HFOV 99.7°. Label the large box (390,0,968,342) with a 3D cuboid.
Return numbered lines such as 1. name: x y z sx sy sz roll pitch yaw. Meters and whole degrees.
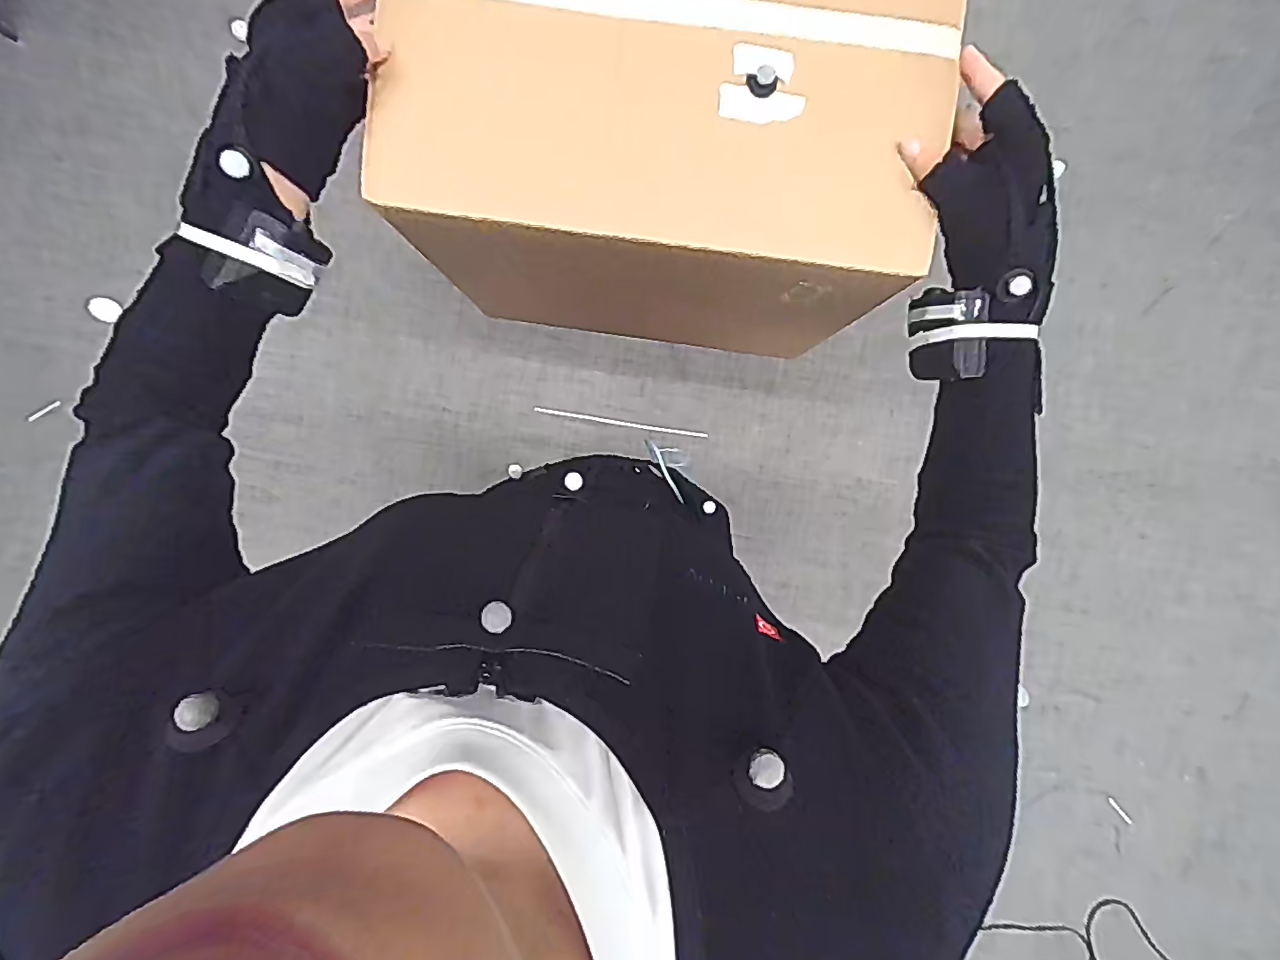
1. large box: 0.028 -0.341 0.533 0.408 0.320 0.320 7 93 -2
